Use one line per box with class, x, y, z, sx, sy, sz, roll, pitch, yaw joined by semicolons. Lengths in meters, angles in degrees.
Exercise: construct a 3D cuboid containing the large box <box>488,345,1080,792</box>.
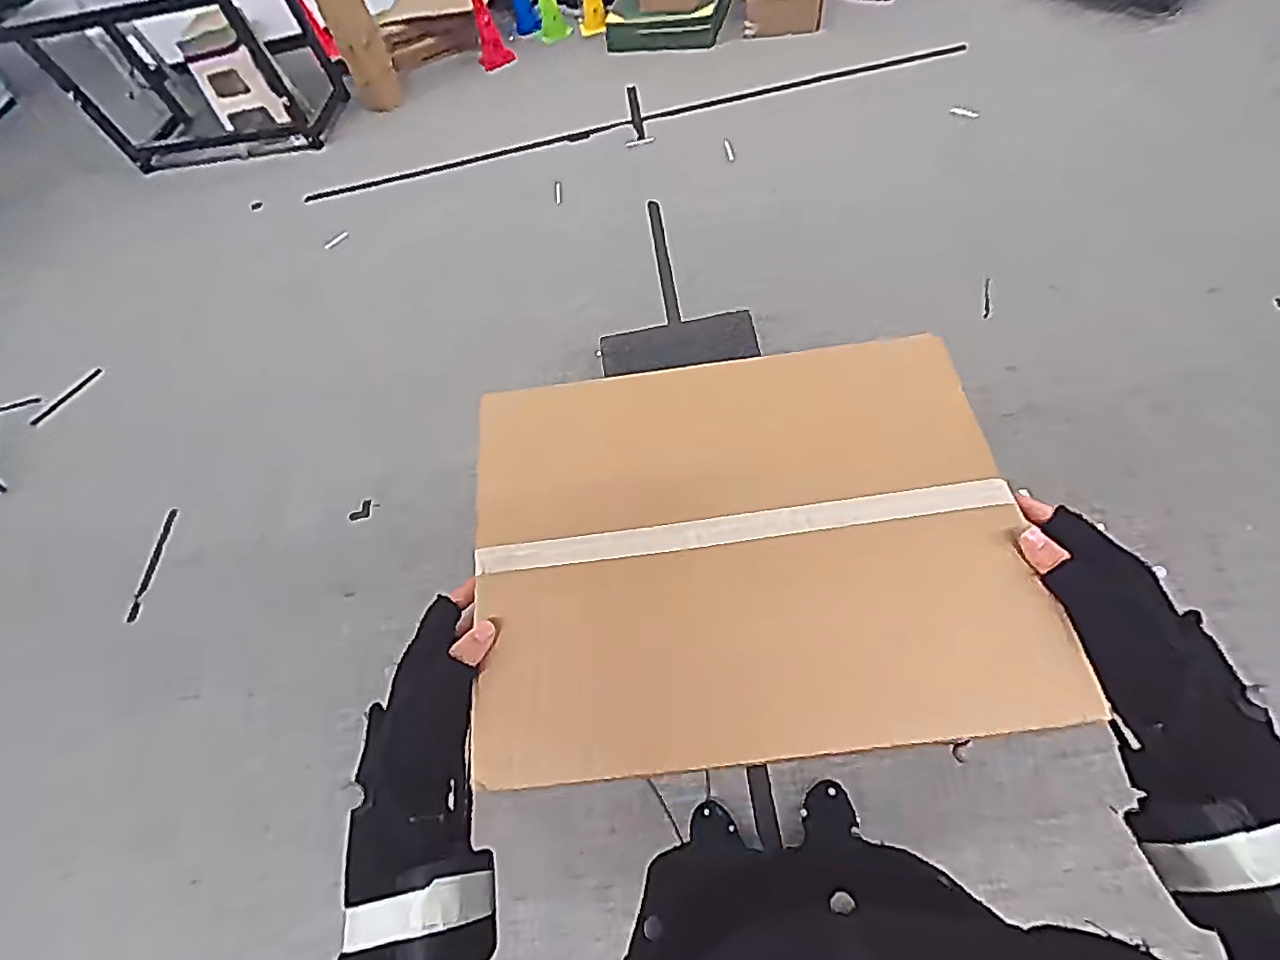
large box;0.091;0.105;0.554;0.408;0.320;0.320;-7;64;1
